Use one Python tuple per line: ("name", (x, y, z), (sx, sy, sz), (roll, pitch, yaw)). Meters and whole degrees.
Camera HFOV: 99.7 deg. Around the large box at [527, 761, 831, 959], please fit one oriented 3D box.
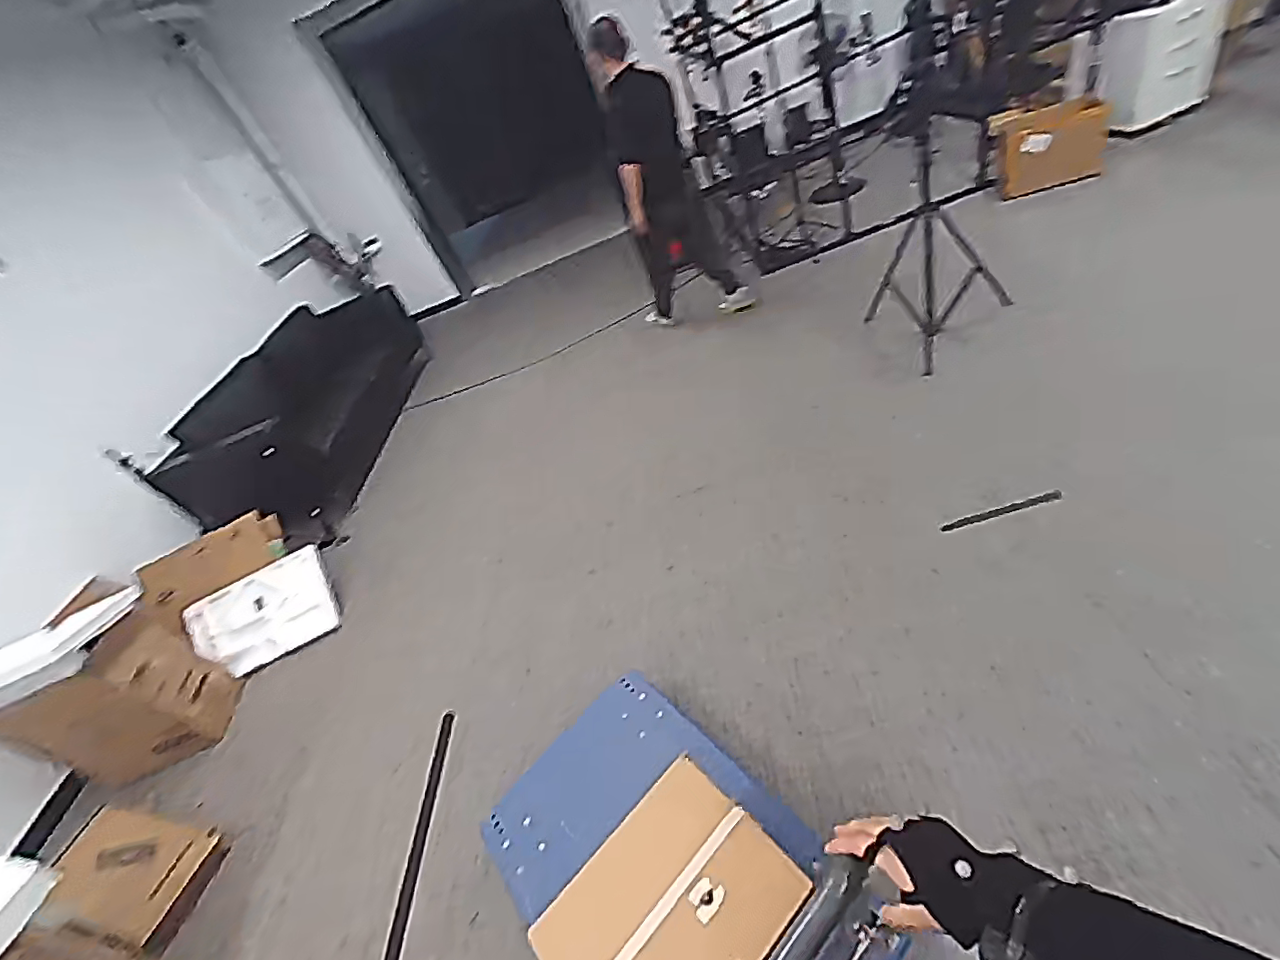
("large box", (0.084, 0.830, 0.976), (0.408, 0.320, 0.320), (-41, 40, -20))
